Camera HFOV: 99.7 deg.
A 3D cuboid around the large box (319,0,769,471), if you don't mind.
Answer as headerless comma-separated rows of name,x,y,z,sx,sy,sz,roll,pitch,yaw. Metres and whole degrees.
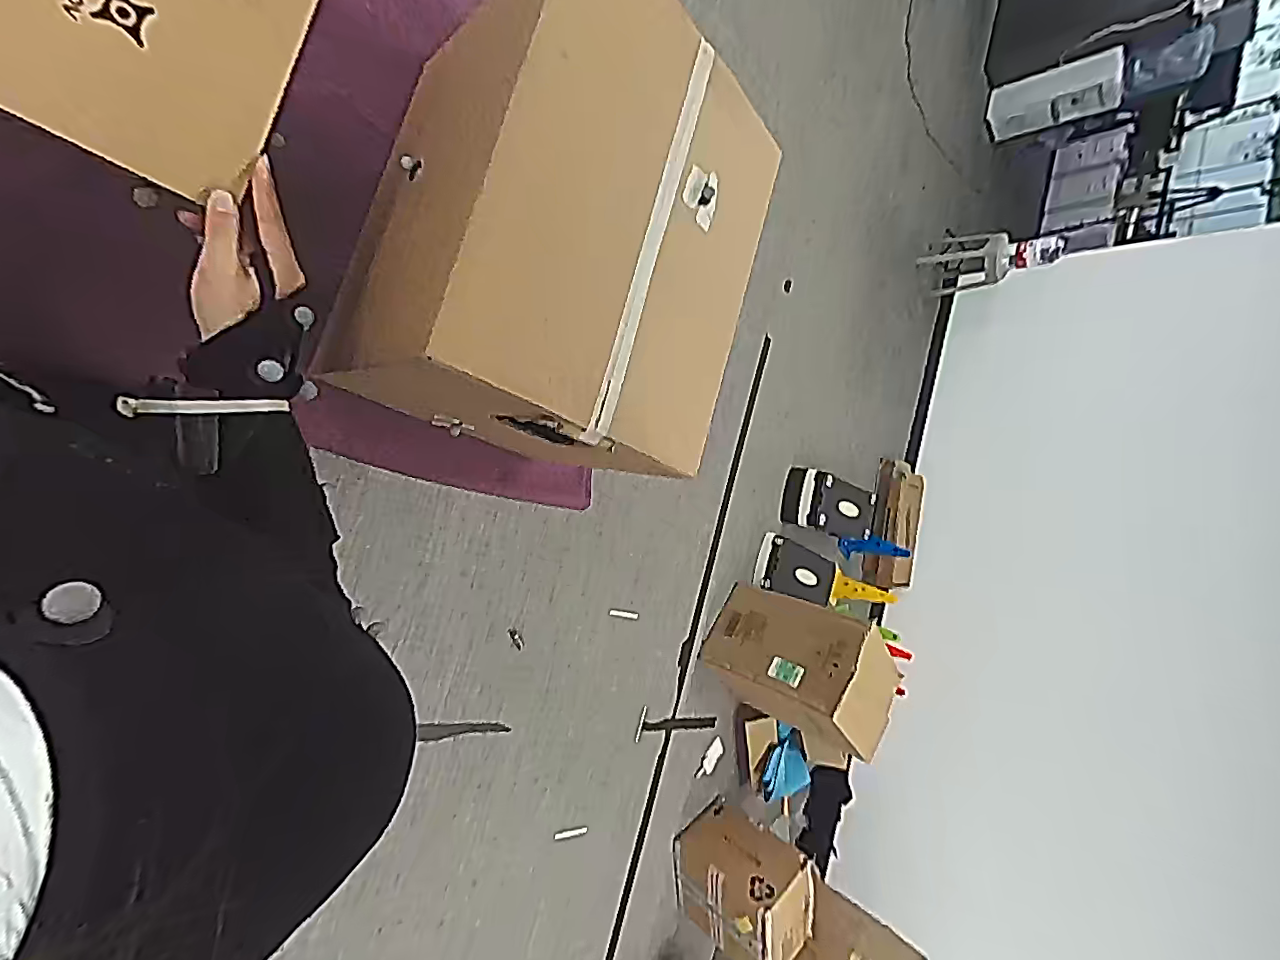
large box,-0.101,-0.247,0.607,0.320,0.320,0.408,22,79,-45
